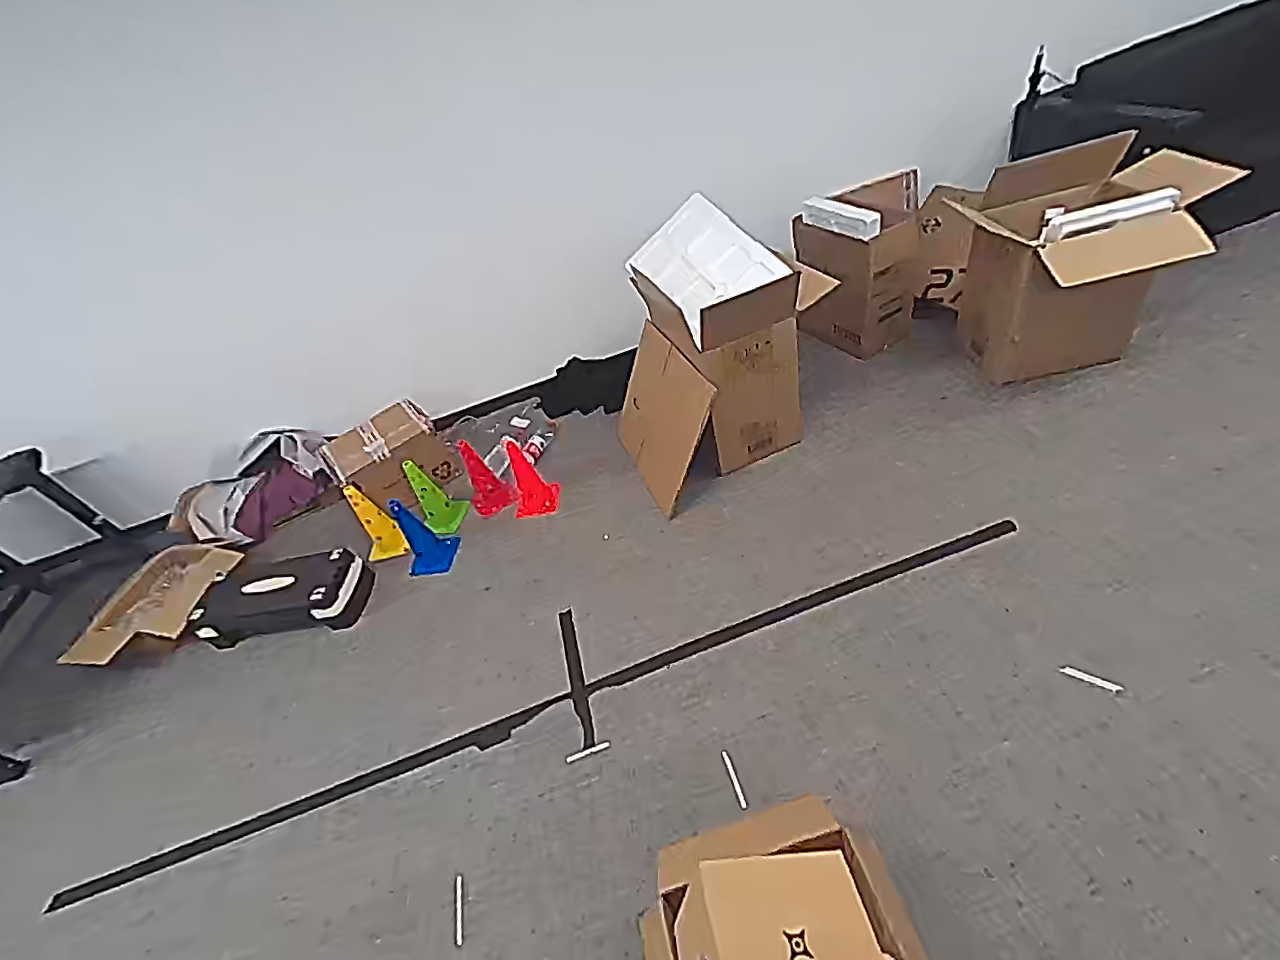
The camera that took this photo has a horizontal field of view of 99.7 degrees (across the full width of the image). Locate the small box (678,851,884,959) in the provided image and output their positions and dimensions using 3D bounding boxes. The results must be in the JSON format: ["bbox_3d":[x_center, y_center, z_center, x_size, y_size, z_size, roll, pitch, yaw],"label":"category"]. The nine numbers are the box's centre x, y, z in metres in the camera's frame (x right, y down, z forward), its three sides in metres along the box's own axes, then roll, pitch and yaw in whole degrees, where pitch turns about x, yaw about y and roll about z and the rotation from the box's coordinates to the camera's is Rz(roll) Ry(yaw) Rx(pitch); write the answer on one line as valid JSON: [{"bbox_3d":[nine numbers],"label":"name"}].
[{"bbox_3d":[0.140,0.516,0.548,0.168,0.176,0.179,2,32,-9],"label":"small box"}]
